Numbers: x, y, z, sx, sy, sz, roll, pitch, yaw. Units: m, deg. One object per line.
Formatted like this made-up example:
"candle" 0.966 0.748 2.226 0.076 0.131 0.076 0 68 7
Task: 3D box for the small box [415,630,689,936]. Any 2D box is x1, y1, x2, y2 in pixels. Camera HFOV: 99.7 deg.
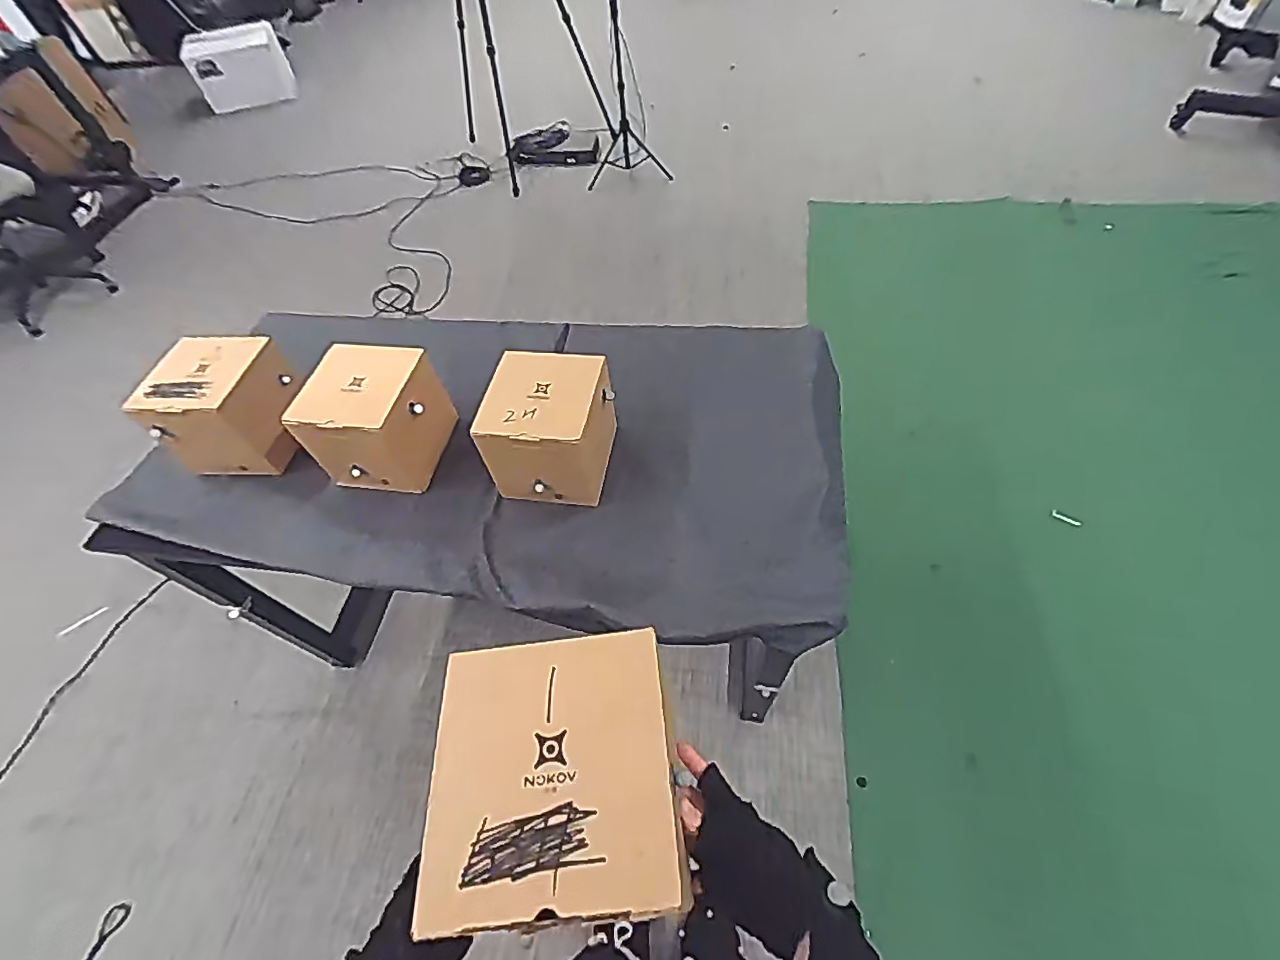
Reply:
"small box" -0.053 0.242 0.435 0.168 0.176 0.179 -7 52 2

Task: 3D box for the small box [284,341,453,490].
"small box" -0.435 -0.106 0.905 0.168 0.176 0.179 6 56 7

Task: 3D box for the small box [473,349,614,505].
"small box" -0.140 -0.083 0.865 0.168 0.176 0.179 6 56 9
